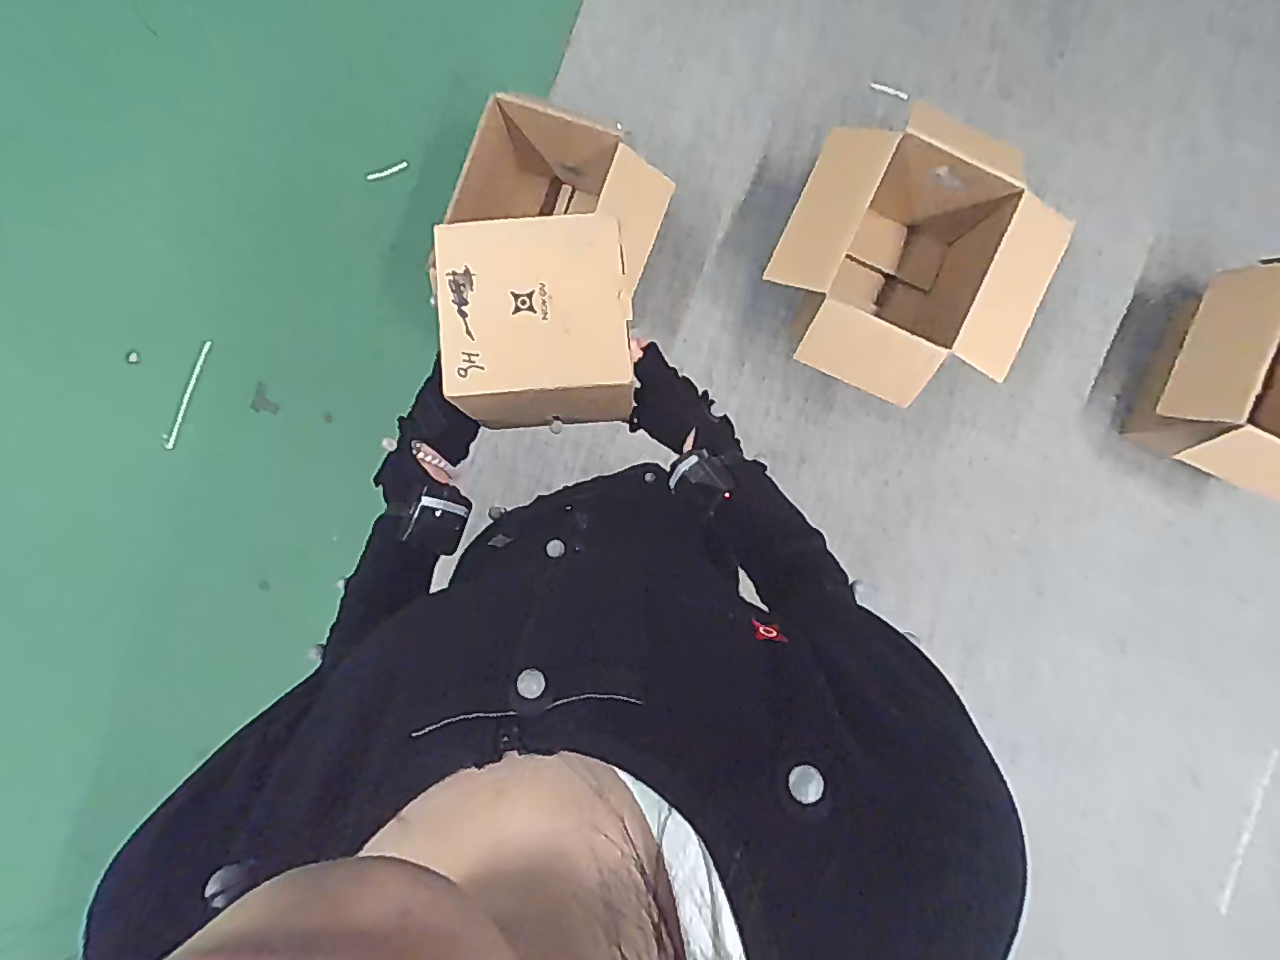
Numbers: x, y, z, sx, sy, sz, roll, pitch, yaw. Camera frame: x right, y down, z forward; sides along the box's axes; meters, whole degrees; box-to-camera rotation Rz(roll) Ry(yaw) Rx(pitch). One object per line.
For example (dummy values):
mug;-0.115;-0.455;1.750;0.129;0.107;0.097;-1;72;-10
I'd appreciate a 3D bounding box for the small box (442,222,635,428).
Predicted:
small box;-0.101;-0.155;0.586;0.179;0.176;0.168;-4;84;-3
